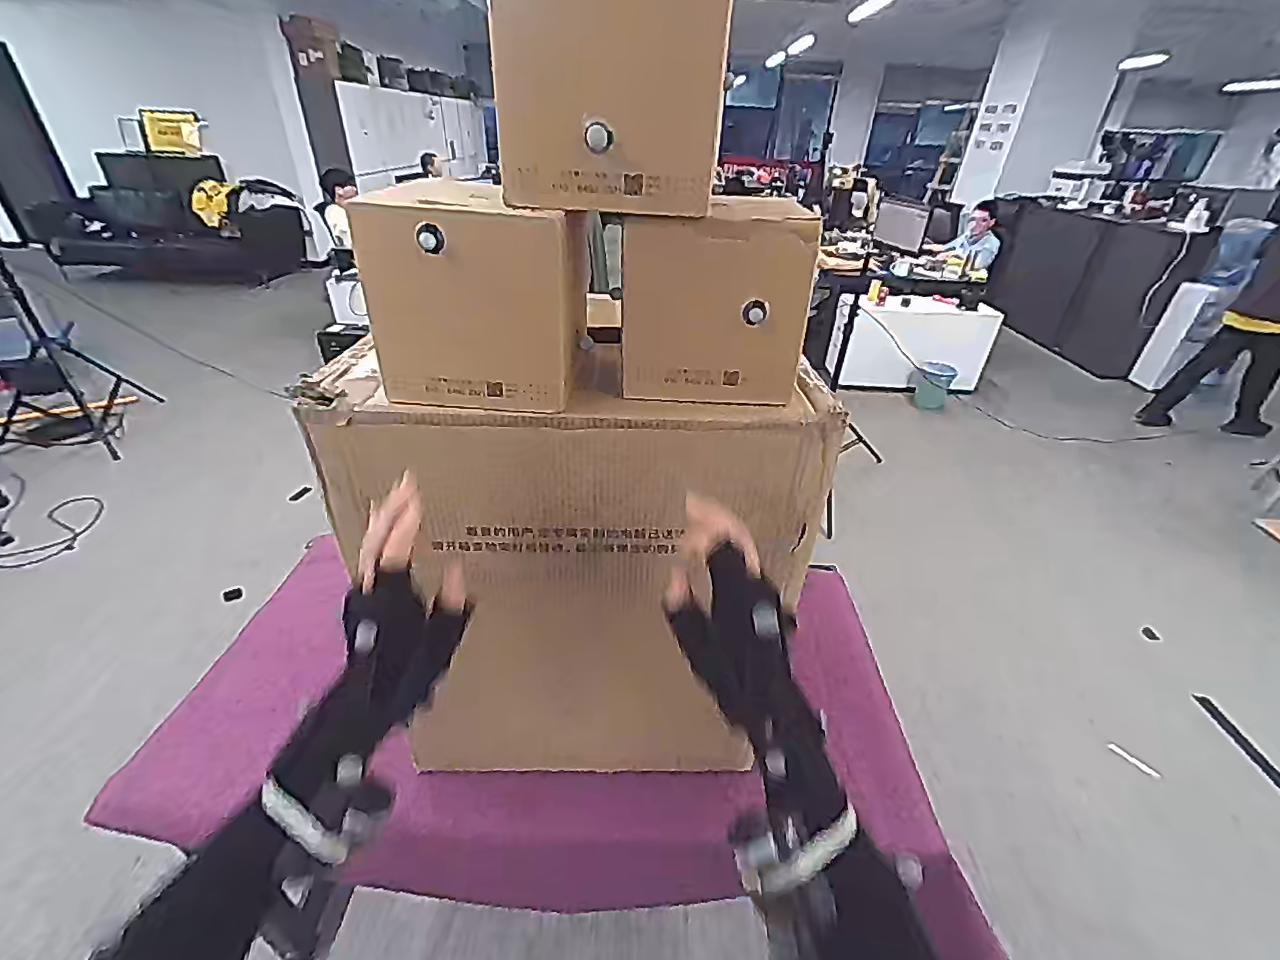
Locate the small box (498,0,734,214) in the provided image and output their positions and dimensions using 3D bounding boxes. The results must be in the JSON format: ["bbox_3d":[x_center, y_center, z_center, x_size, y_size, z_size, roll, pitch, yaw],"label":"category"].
[{"bbox_3d":[-0.018,-0.331,0.455,0.168,0.176,0.179,3,33,0],"label":"small box"}]

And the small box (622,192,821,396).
[{"bbox_3d":[0.071,-0.193,0.551,0.168,0.176,0.179,3,31,2],"label":"small box"}]
